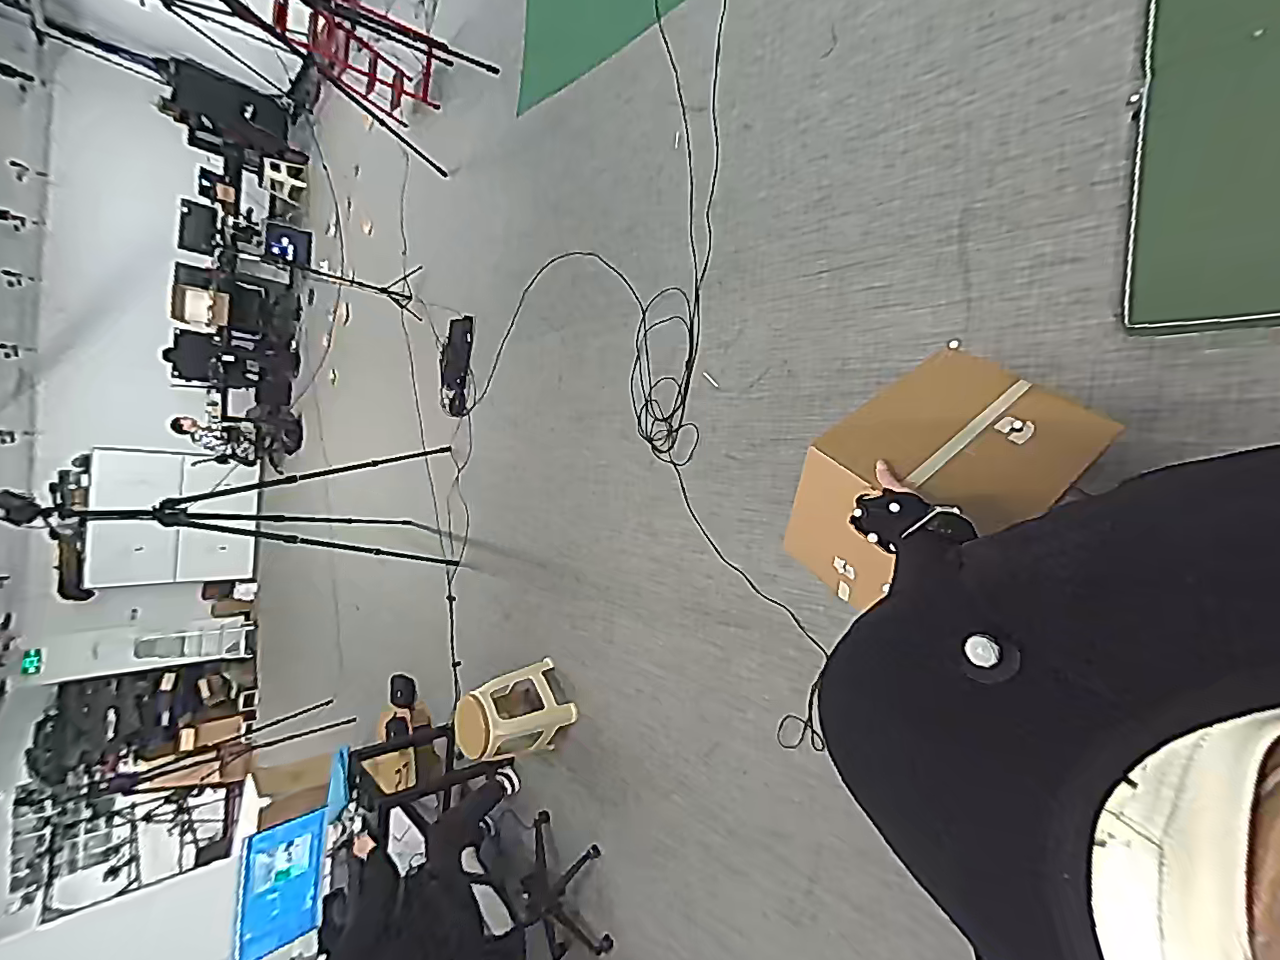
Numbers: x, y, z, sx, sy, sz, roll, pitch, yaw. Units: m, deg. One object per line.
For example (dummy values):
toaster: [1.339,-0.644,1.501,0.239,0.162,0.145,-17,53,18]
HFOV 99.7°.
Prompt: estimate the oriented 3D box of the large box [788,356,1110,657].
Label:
large box: [0.538,0.038,1.001,0.320,0.408,0.320,42,151,32]
